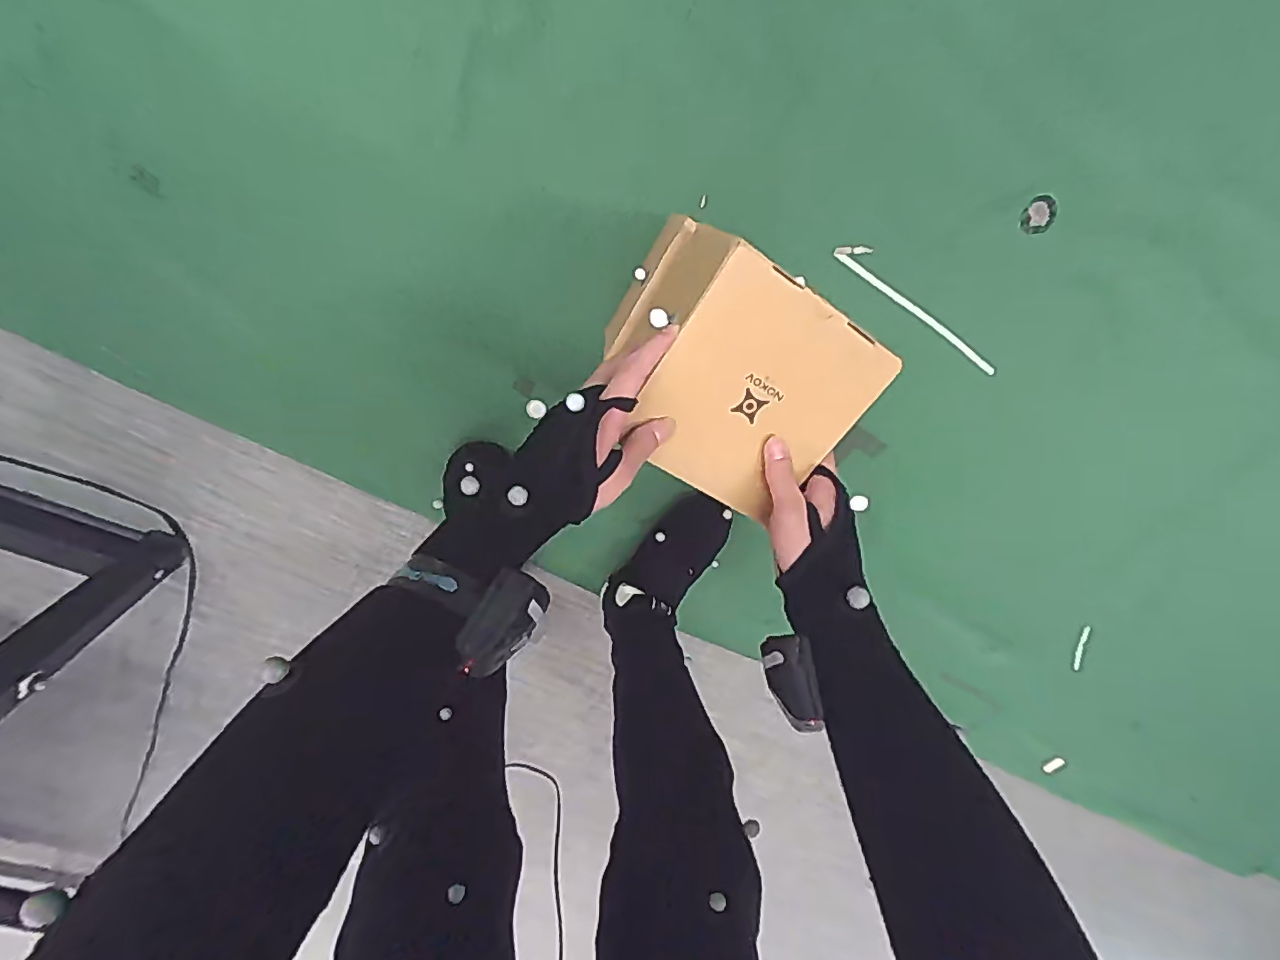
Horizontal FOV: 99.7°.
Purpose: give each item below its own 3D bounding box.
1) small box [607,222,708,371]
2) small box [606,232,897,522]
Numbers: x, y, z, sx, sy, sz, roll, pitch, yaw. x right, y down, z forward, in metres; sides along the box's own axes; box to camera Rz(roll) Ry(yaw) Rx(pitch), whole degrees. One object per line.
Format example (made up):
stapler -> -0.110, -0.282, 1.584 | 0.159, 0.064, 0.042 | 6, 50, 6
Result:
small box -> 0.069, -0.197, 0.669 | 0.168, 0.176, 0.179 | 27, 114, -15
small box -> 0.083, -0.100, 0.495 | 0.168, 0.176, 0.179 | 28, 112, -18
